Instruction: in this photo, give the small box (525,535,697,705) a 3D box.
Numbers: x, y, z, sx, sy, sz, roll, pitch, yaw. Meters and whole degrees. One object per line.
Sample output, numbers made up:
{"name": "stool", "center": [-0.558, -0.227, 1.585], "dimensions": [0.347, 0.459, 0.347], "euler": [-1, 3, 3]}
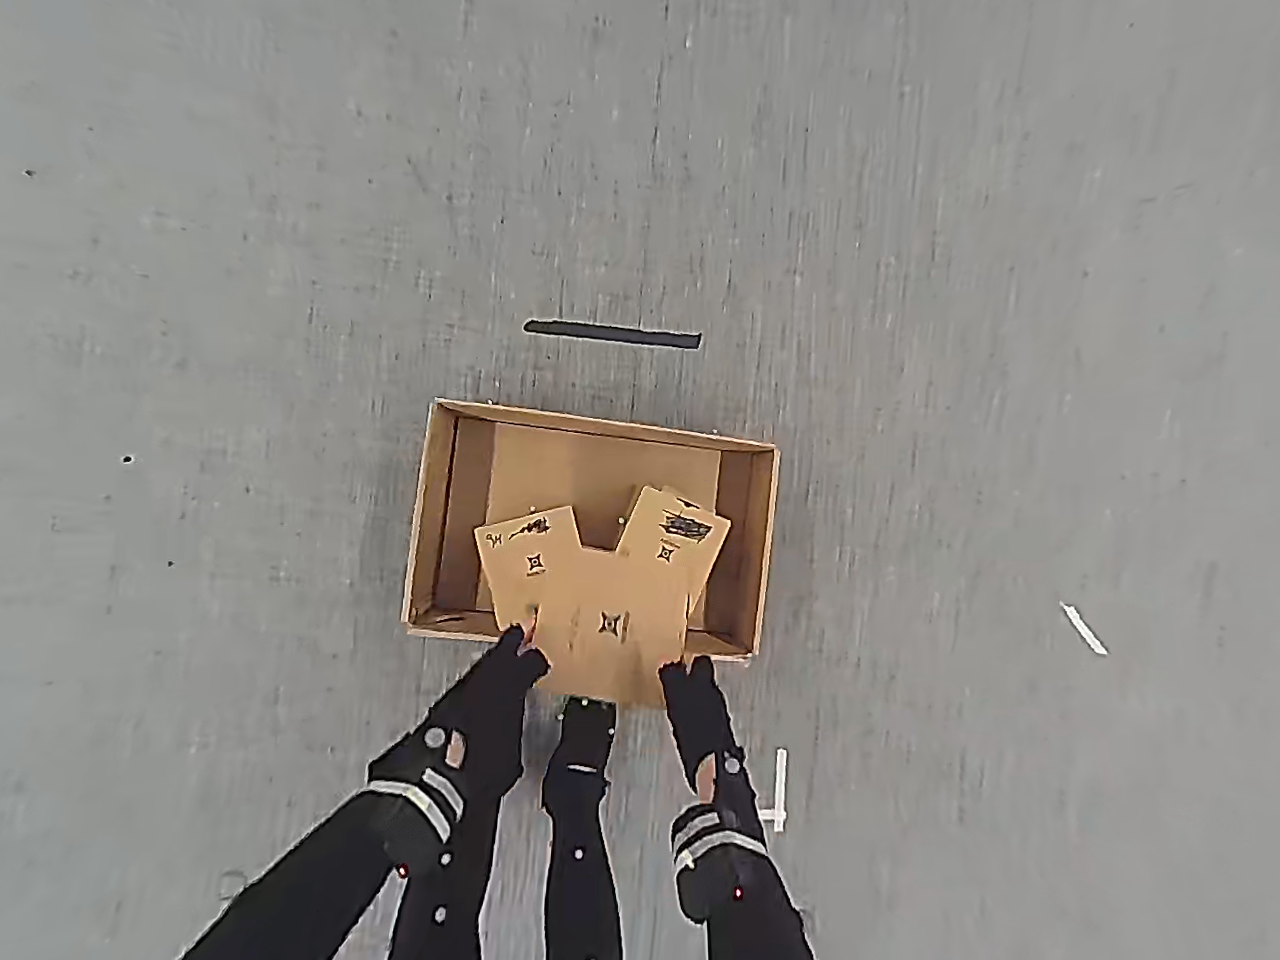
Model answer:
{"name": "small box", "center": [-0.042, 0.179, 0.686], "dimensions": [0.179, 0.176, 0.168], "euler": [11, 71, -7]}
